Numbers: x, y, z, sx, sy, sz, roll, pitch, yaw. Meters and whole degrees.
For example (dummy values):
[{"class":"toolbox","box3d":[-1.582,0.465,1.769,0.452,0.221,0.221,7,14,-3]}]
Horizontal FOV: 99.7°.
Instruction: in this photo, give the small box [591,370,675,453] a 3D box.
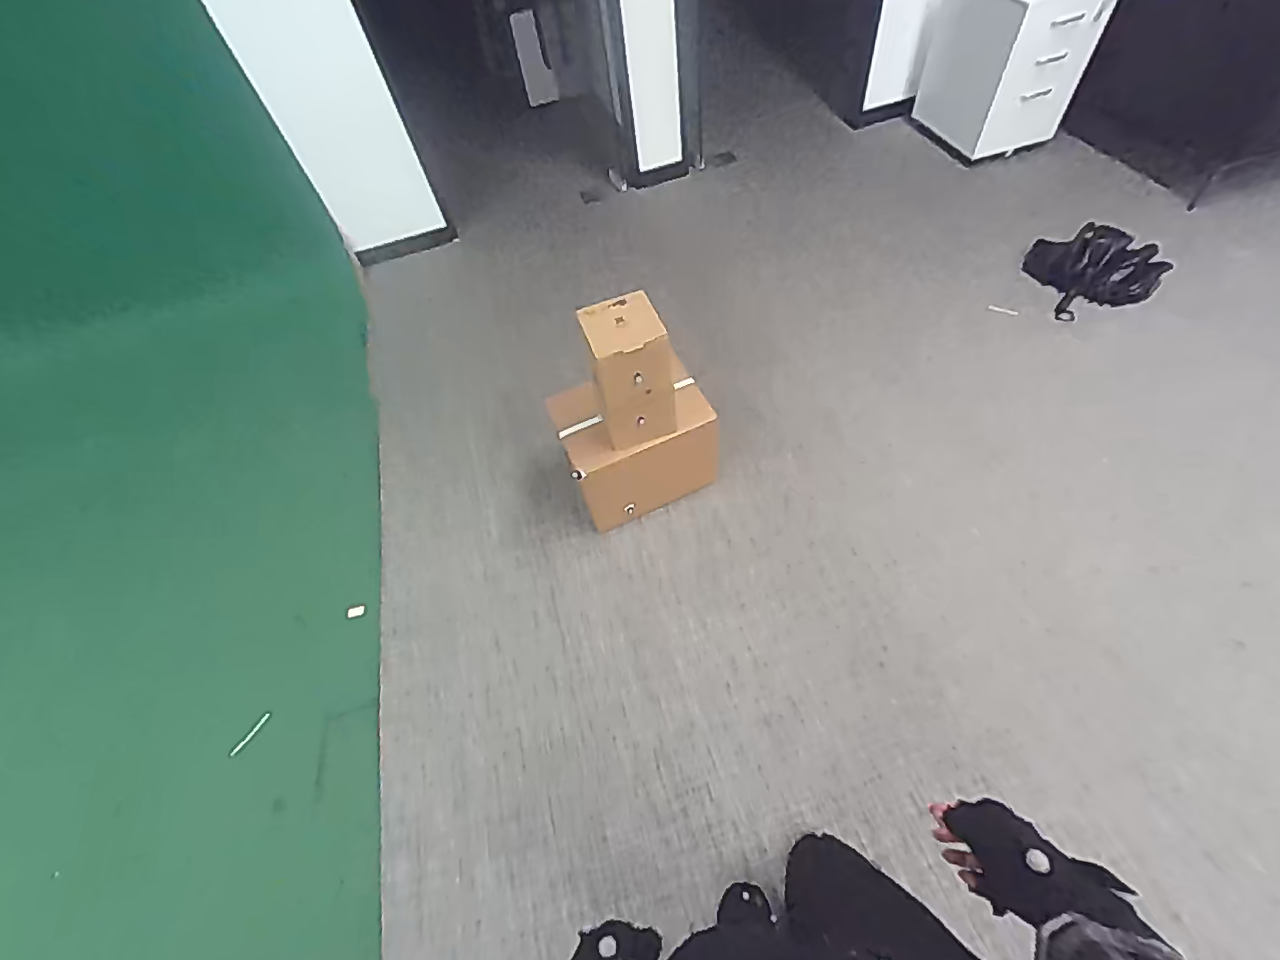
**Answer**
[{"class":"small box","box3d":[-0.013,-0.200,1.406,0.179,0.176,0.168,-19,56,-4]}]

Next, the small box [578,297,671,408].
[{"class":"small box","box3d":[-0.031,-0.291,1.272,0.168,0.176,0.179,-19,56,-5]}]
